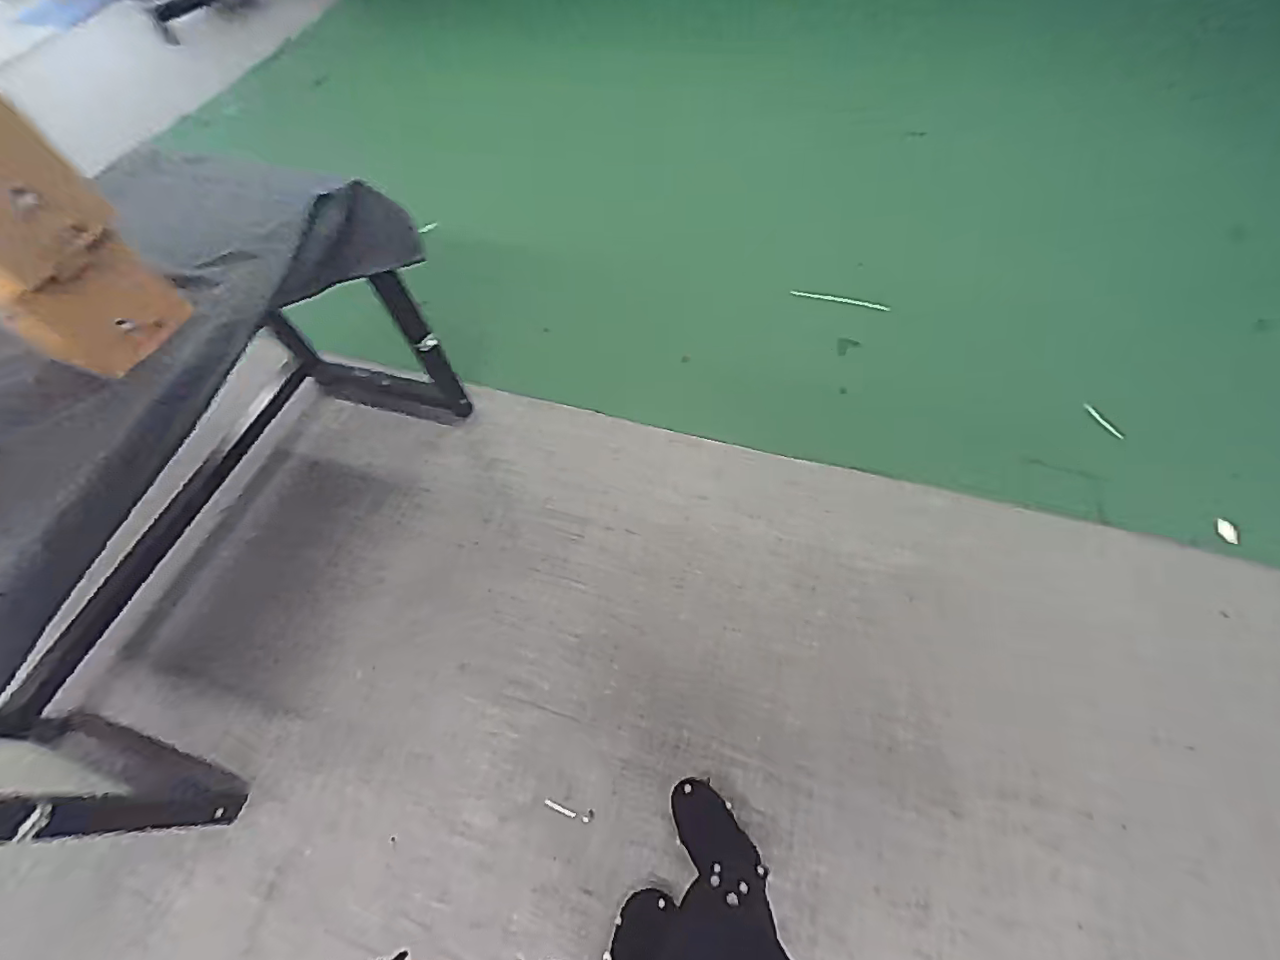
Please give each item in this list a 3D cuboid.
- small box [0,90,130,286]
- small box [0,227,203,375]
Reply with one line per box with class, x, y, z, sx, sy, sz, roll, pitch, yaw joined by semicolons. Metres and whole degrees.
small box;-0.842;-0.376;0.700;0.179;0.176;0.168;15;62;12
small box;-0.852;-0.288;0.838;0.179;0.176;0.168;18;63;15
